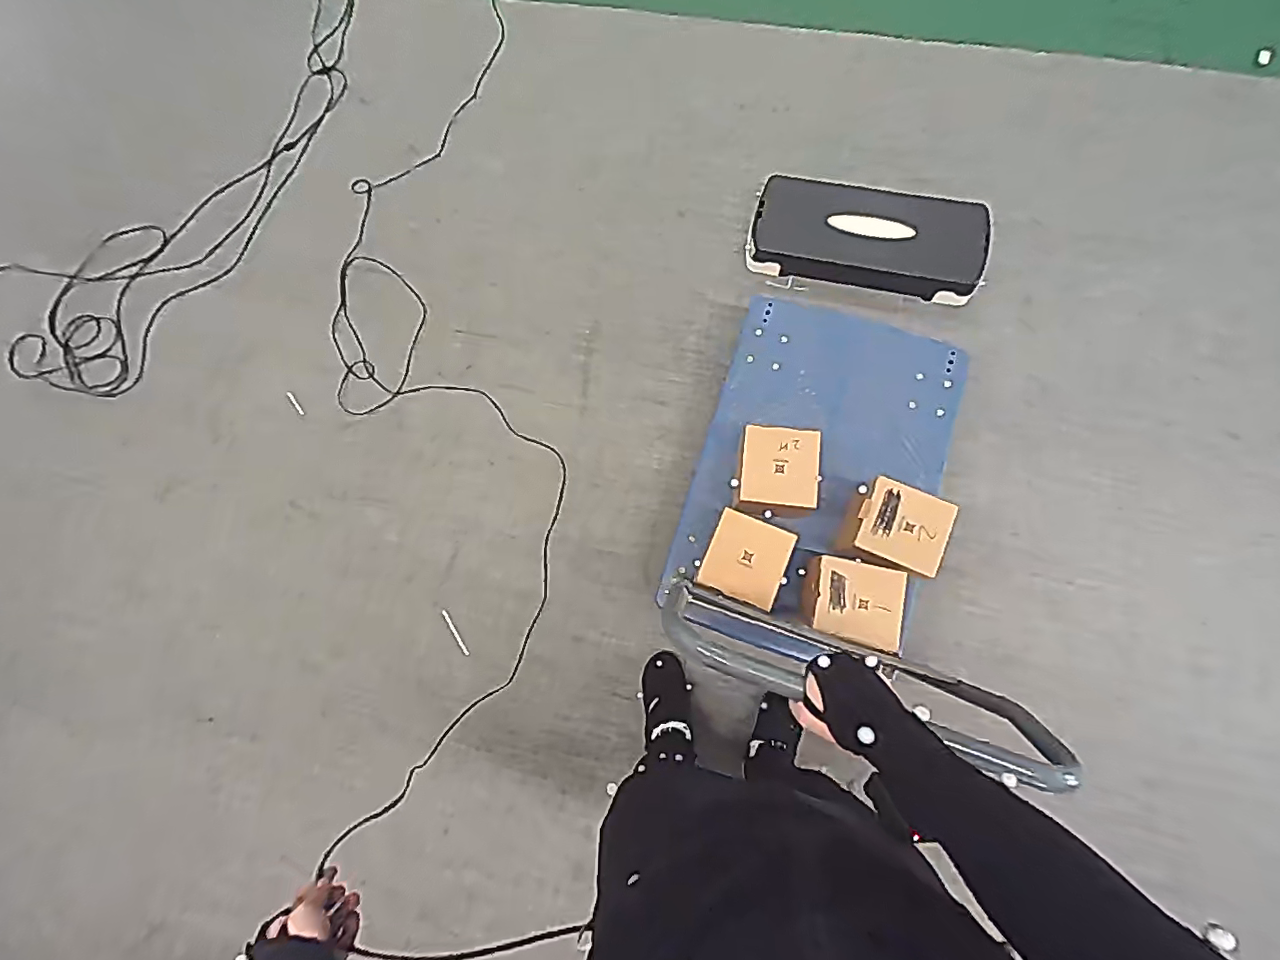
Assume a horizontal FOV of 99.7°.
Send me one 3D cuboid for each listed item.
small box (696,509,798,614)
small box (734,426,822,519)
[{"bbox_3d":[0.232,0.185,1.216,0.168,0.176,0.179,22,80,8],"label":"small box"},{"bbox_3d":[0.313,-0.010,1.254,0.168,0.176,0.179,7,78,5],"label":"small box"}]
